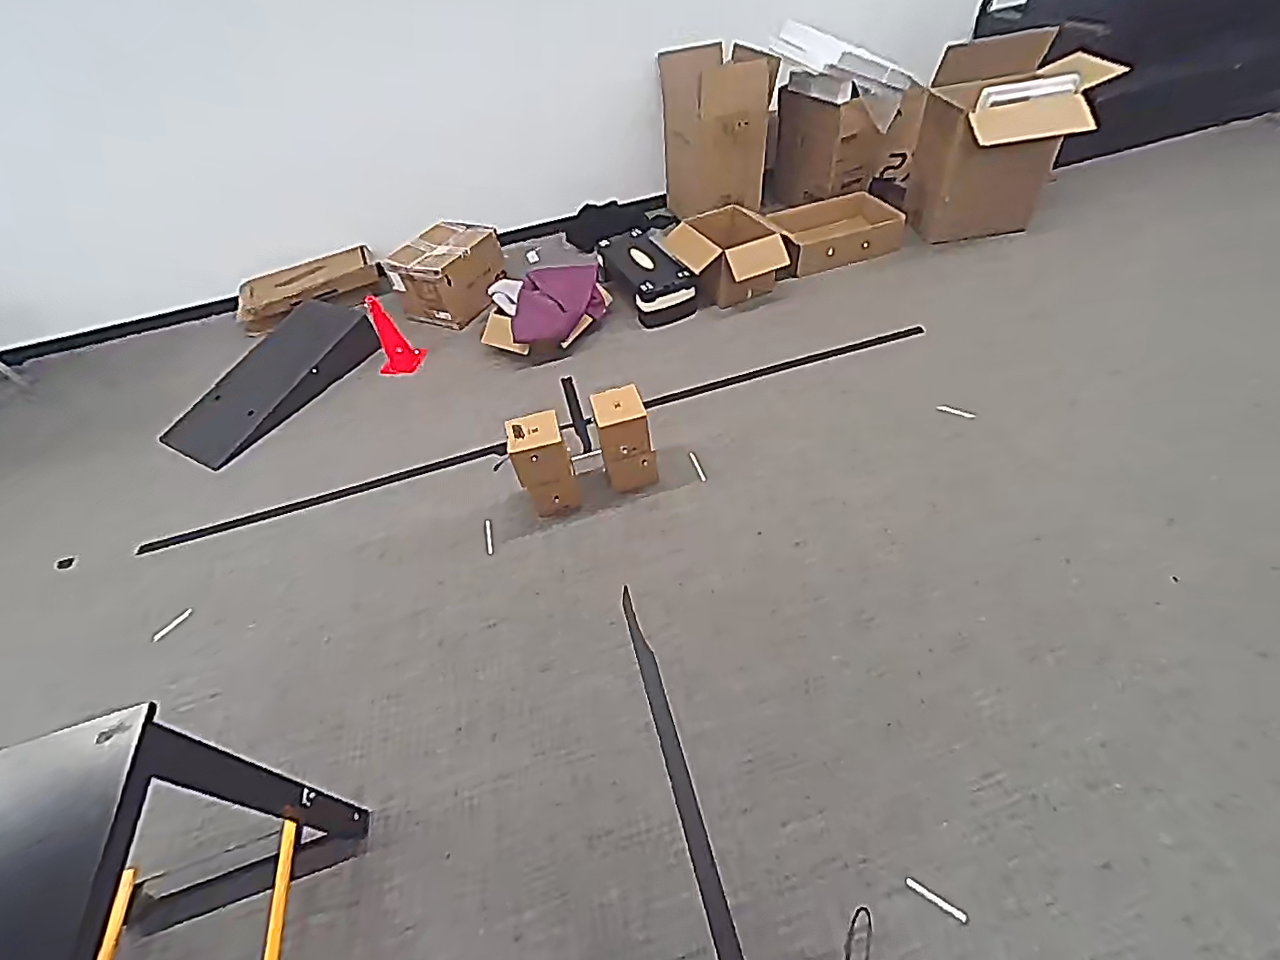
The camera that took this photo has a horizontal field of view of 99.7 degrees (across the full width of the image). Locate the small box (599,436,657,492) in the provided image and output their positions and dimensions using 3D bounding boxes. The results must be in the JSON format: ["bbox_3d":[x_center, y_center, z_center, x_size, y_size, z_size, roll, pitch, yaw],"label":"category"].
[{"bbox_3d":[-0.040,-0.084,1.992,0.179,0.176,0.168,-17,48,-7],"label":"small box"}]

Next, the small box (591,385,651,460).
[{"bbox_3d":[-0.065,-0.199,1.879,0.168,0.176,0.179,-16,50,-5],"label":"small box"}]

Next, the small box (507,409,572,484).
[{"bbox_3d":[-0.340,-0.108,1.833,0.179,0.176,0.168,-14,48,-3],"label":"small box"}]

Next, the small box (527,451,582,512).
[{"bbox_3d":[-0.313,-0.003,1.960,0.168,0.176,0.179,-14,49,-4],"label":"small box"}]
